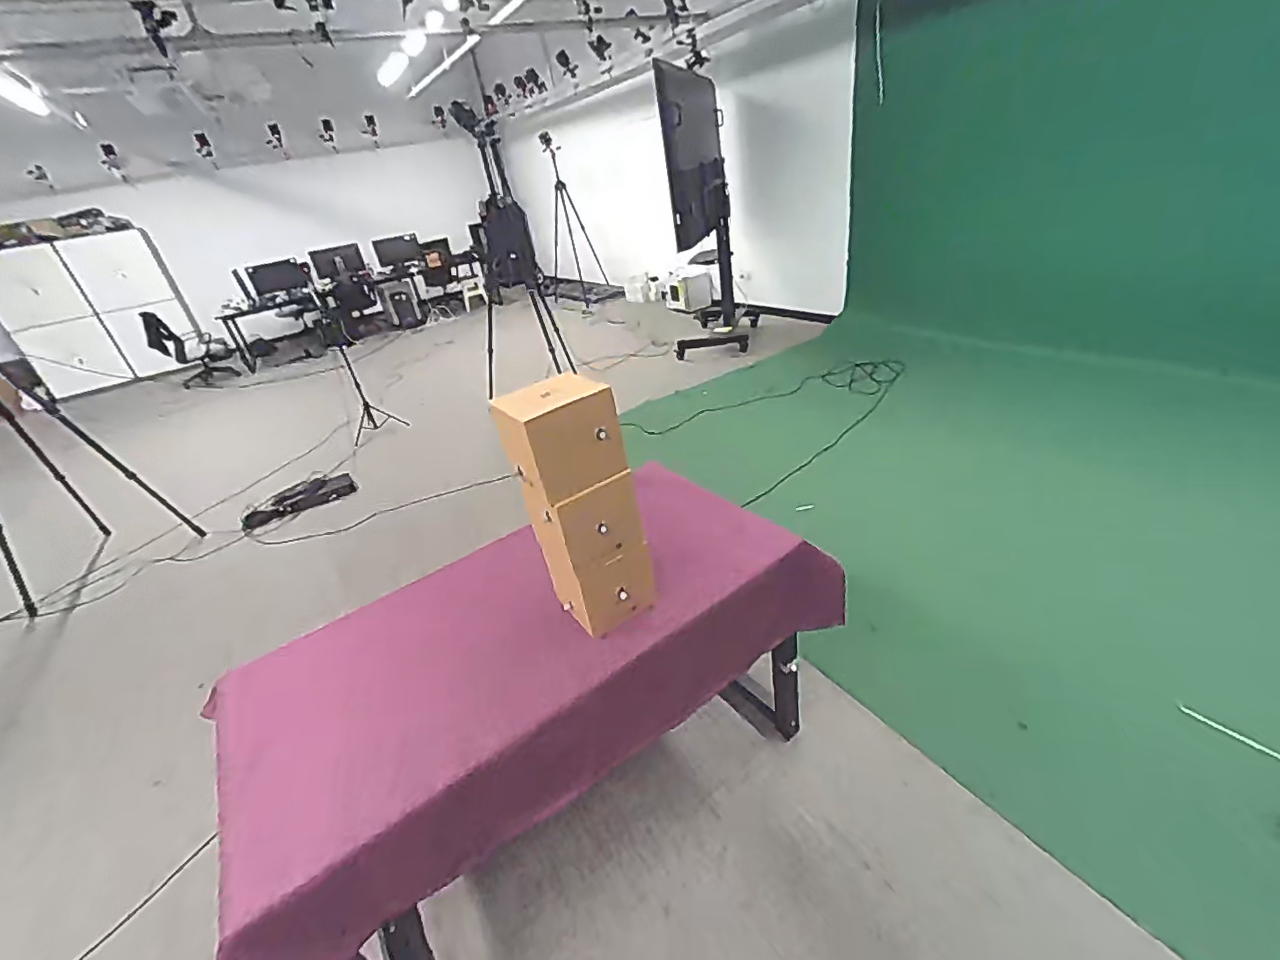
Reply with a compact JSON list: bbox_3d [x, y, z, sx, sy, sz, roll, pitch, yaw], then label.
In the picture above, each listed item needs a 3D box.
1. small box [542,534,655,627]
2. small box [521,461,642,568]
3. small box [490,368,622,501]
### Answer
[{"bbox_3d":[-0.085,0.190,1.166,0.168,0.176,0.179,-26,34,-25],"label":"small box"},{"bbox_3d":[-0.115,0.051,1.081,0.168,0.176,0.179,-26,33,-25],"label":"small box"},{"bbox_3d":[-0.147,-0.087,1.001,0.179,0.176,0.168,-28,33,-25],"label":"small box"}]
